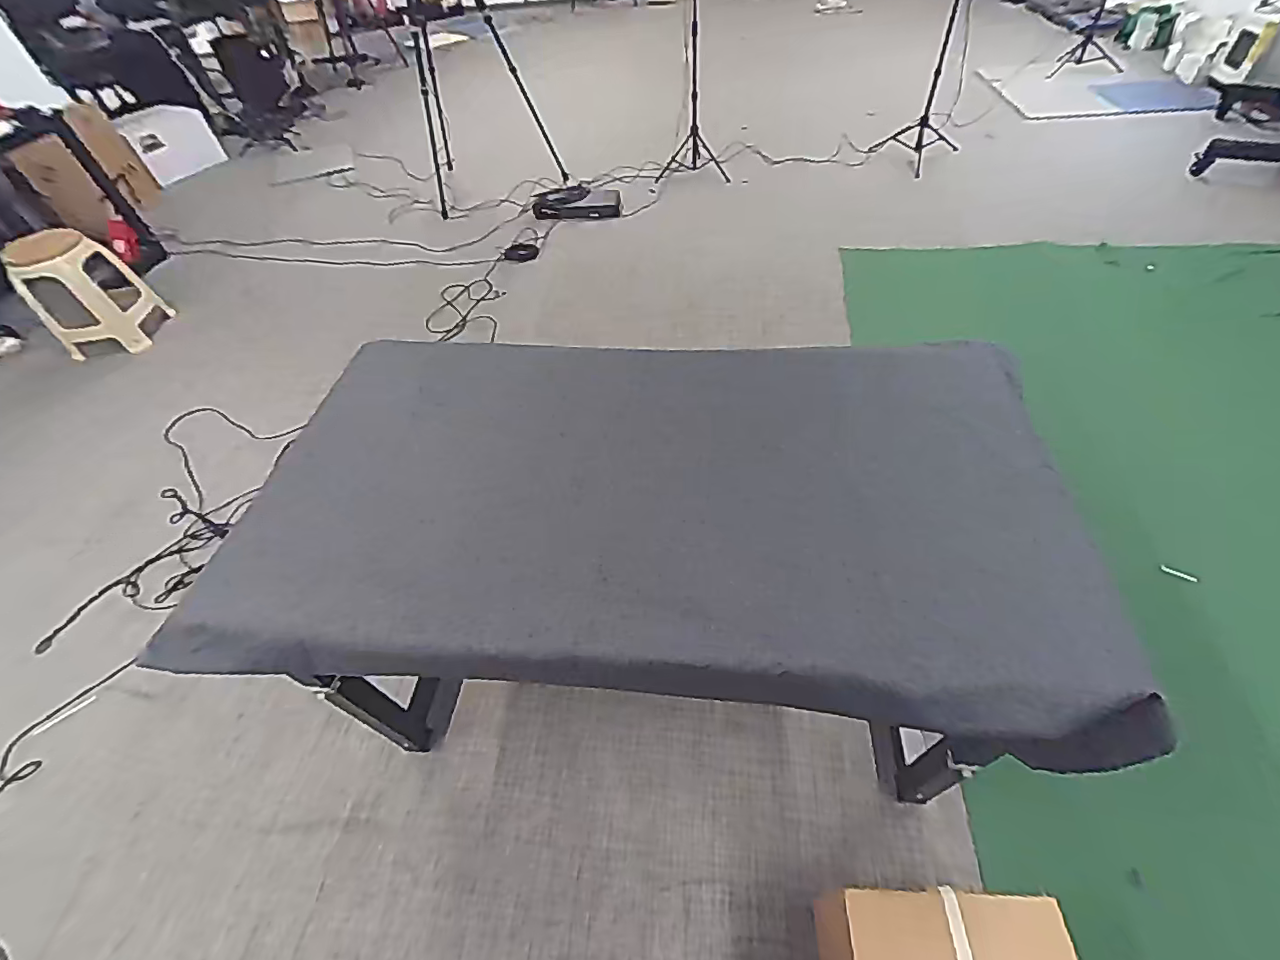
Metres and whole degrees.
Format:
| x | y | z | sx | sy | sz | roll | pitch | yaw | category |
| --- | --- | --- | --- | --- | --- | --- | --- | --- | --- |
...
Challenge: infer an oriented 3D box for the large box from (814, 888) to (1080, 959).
| x | y | z | sx | sy | sz | roll | pitch | yaw | category |
| --- | --- | --- | --- | --- | --- | --- | --- | --- | --- |
| 0.473 | 0.867 | 0.807 | 0.320 | 0.320 | 0.408 | -1 | 51 | 5 | large box |
